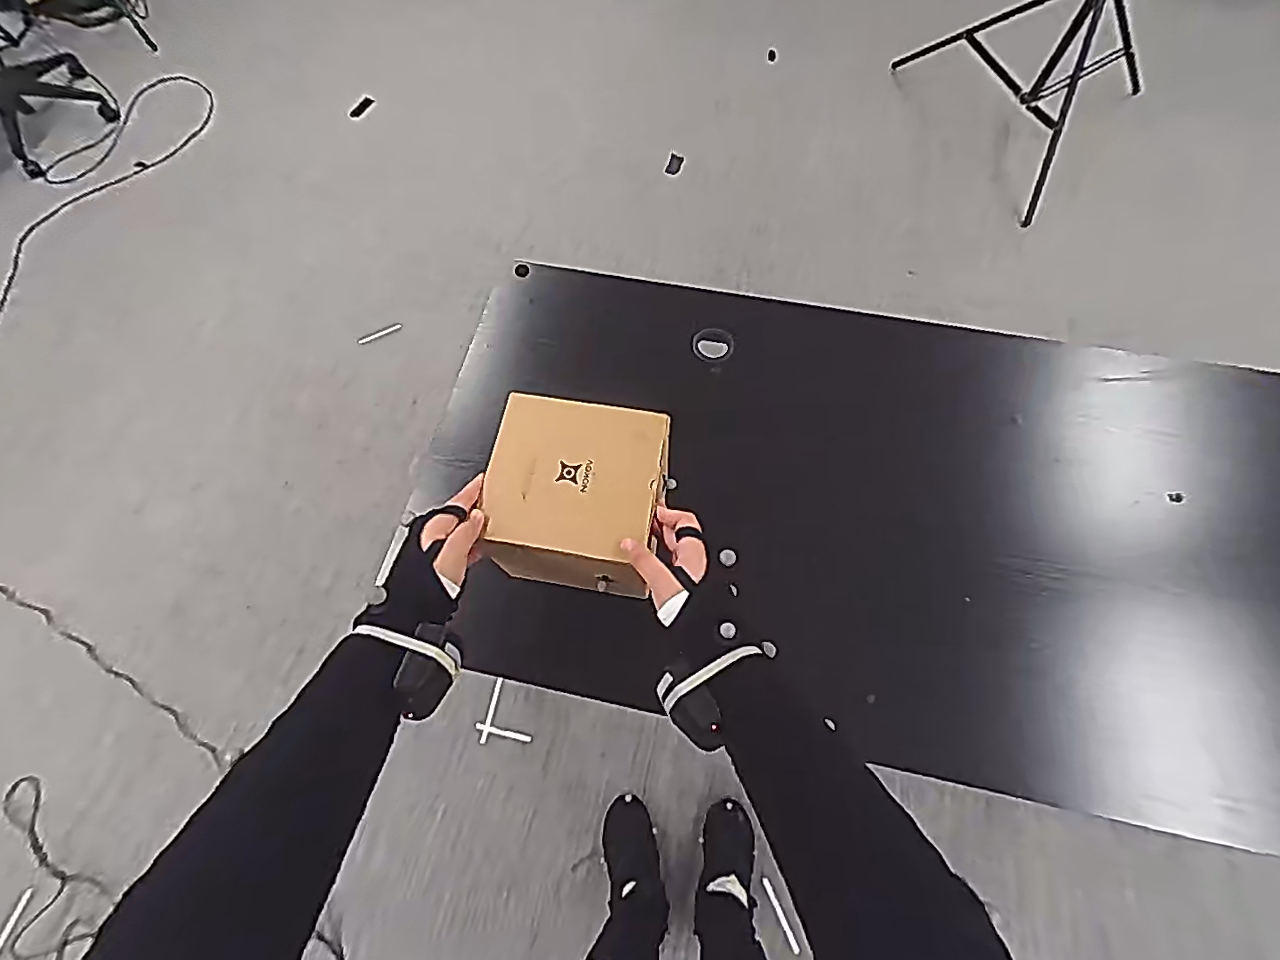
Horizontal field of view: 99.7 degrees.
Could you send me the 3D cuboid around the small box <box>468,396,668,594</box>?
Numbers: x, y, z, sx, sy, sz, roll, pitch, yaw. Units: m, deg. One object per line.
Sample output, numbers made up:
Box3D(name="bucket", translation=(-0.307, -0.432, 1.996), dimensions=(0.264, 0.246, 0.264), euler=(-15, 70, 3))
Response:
Box3D(name="small box", translation=(-0.067, 0.026, 0.618), dimensions=(0.179, 0.176, 0.168), euler=(8, 67, 6))
